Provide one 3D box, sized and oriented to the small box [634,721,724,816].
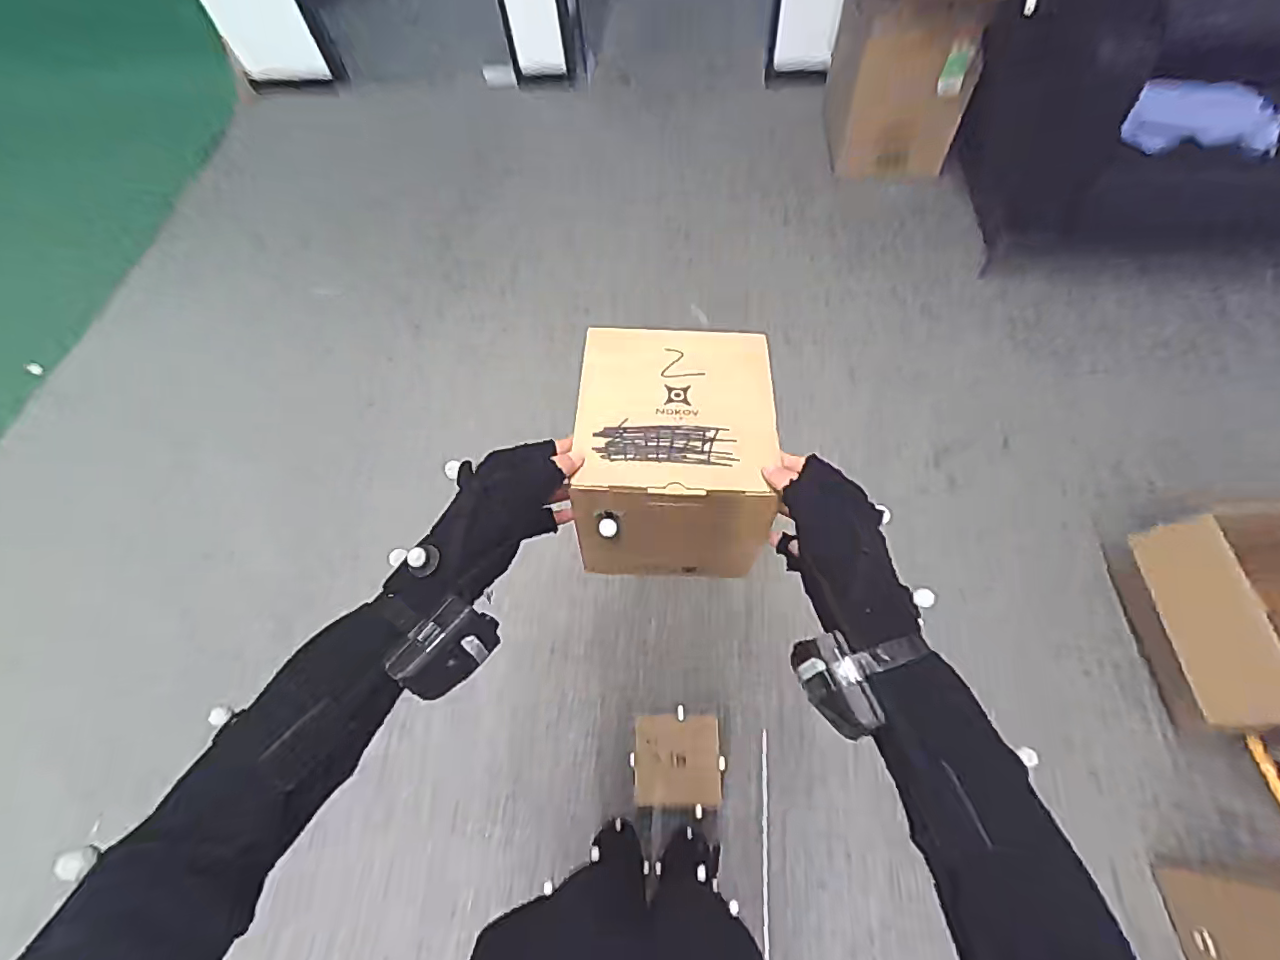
[{"bbox_3d":[0.082,0.616,1.157,0.179,0.176,0.168,-1,60,4],"label":"small box"}]
